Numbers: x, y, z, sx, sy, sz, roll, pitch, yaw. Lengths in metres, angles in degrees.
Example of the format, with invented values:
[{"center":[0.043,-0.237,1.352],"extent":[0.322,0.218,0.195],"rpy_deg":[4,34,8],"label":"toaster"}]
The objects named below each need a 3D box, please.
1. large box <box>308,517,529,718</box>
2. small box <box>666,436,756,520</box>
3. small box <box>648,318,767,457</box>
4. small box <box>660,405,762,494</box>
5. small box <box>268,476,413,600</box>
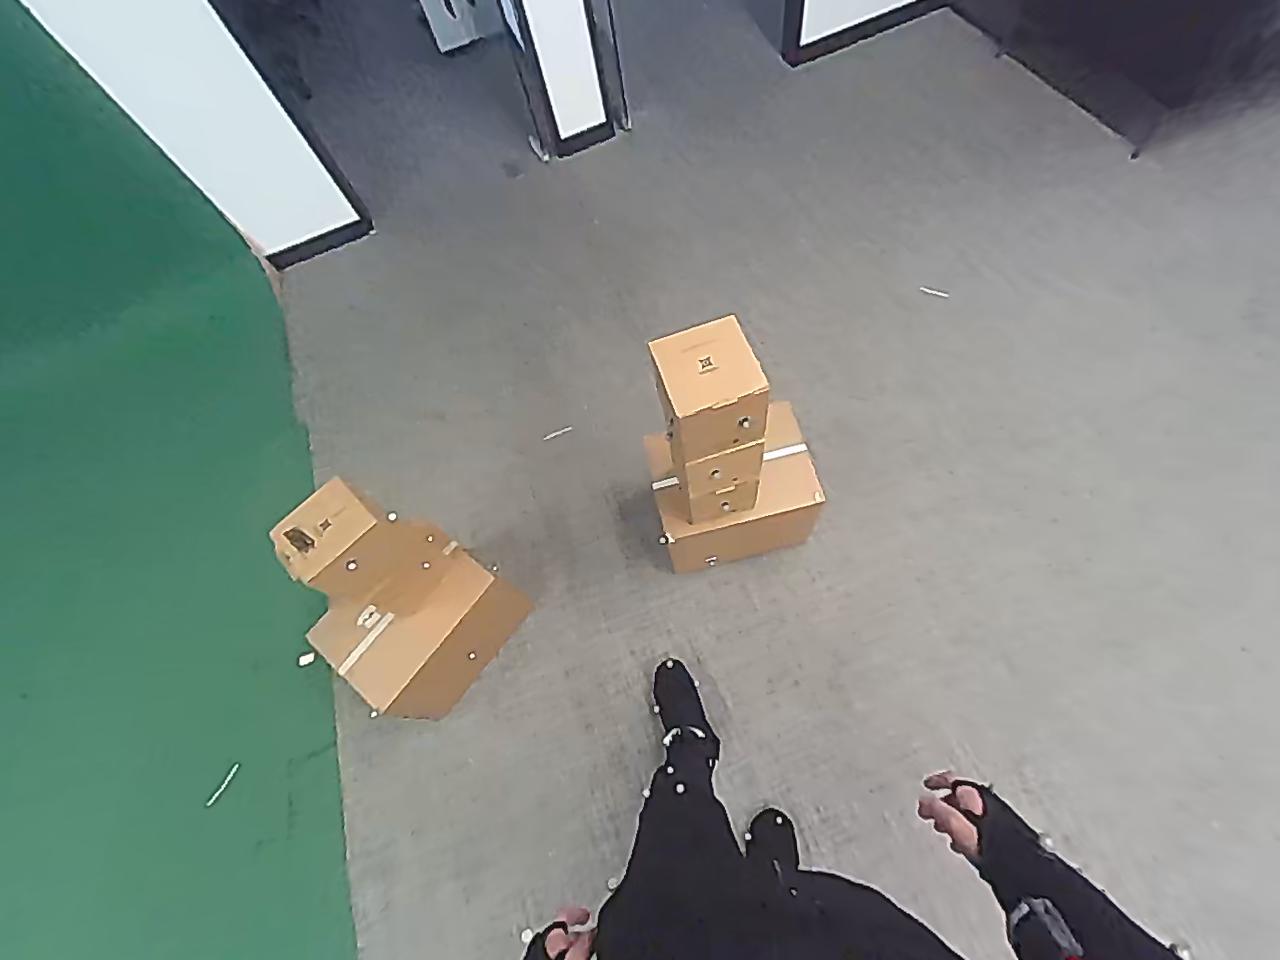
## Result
[{"center":[-0.579,0.384,1.487],"extent":[0.320,0.320,0.408],"rpy_deg":[32,74,22],"label":"large box"},{"center":[0.169,-0.018,1.293],"extent":[0.168,0.176,0.179],"rpy_deg":[-16,64,0],"label":"small box"},{"center":[0.125,-0.161,1.004],"extent":[0.168,0.176,0.179],"rpy_deg":[-18,62,-1],"label":"small box"},{"center":[0.150,-0.087,1.147],"extent":[0.168,0.176,0.179],"rpy_deg":[-17,63,0],"label":"small box"},{"center":[-0.631,0.130,1.158],"extent":[0.168,0.176,0.179],"rpy_deg":[39,75,23],"label":"small box"}]
